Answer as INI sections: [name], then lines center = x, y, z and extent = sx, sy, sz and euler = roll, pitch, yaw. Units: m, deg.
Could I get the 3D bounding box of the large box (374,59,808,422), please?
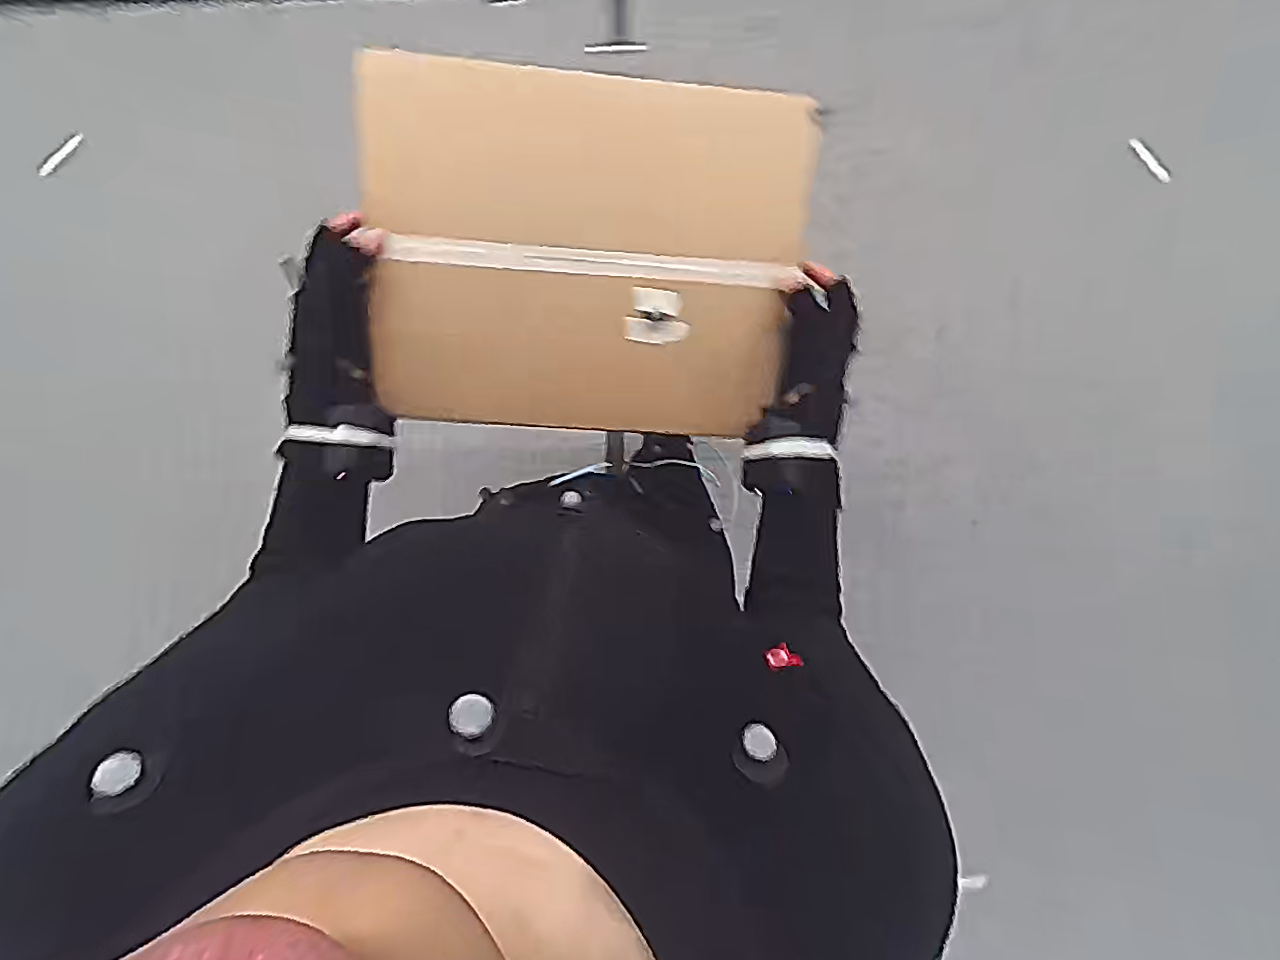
[large box]
center = -0.058, -0.246, 0.667
extent = 0.408, 0.320, 0.320
euler = 3, 102, -5
